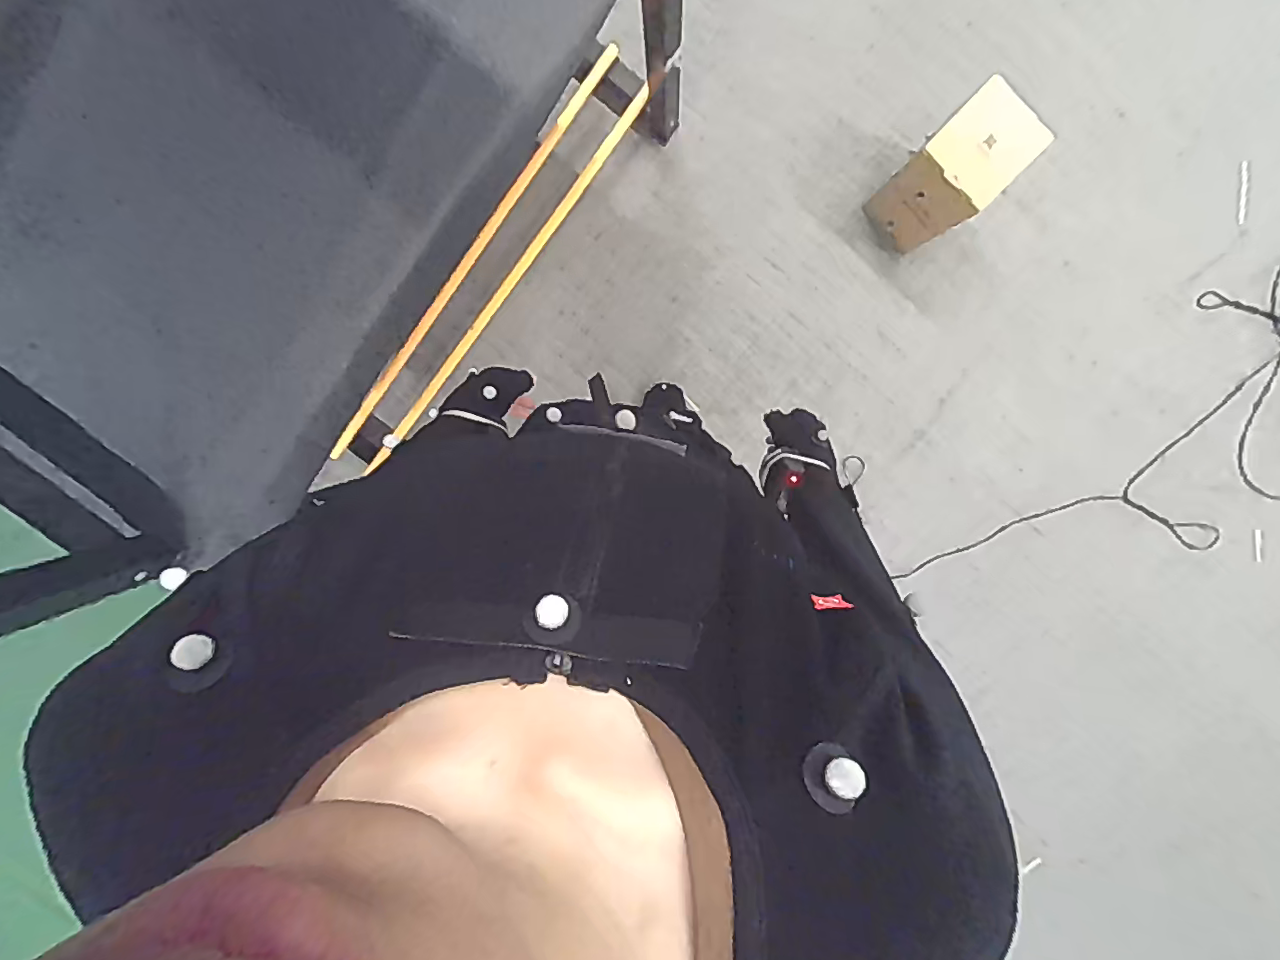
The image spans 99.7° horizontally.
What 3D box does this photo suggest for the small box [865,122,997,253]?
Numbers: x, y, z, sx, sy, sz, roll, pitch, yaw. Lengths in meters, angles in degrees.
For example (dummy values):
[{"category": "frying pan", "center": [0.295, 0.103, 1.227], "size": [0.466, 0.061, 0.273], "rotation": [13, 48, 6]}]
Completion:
[{"category": "small box", "center": [0.659, -0.663, 1.249], "size": [0.168, 0.176, 0.179], "rotation": [45, 100, -4]}]
